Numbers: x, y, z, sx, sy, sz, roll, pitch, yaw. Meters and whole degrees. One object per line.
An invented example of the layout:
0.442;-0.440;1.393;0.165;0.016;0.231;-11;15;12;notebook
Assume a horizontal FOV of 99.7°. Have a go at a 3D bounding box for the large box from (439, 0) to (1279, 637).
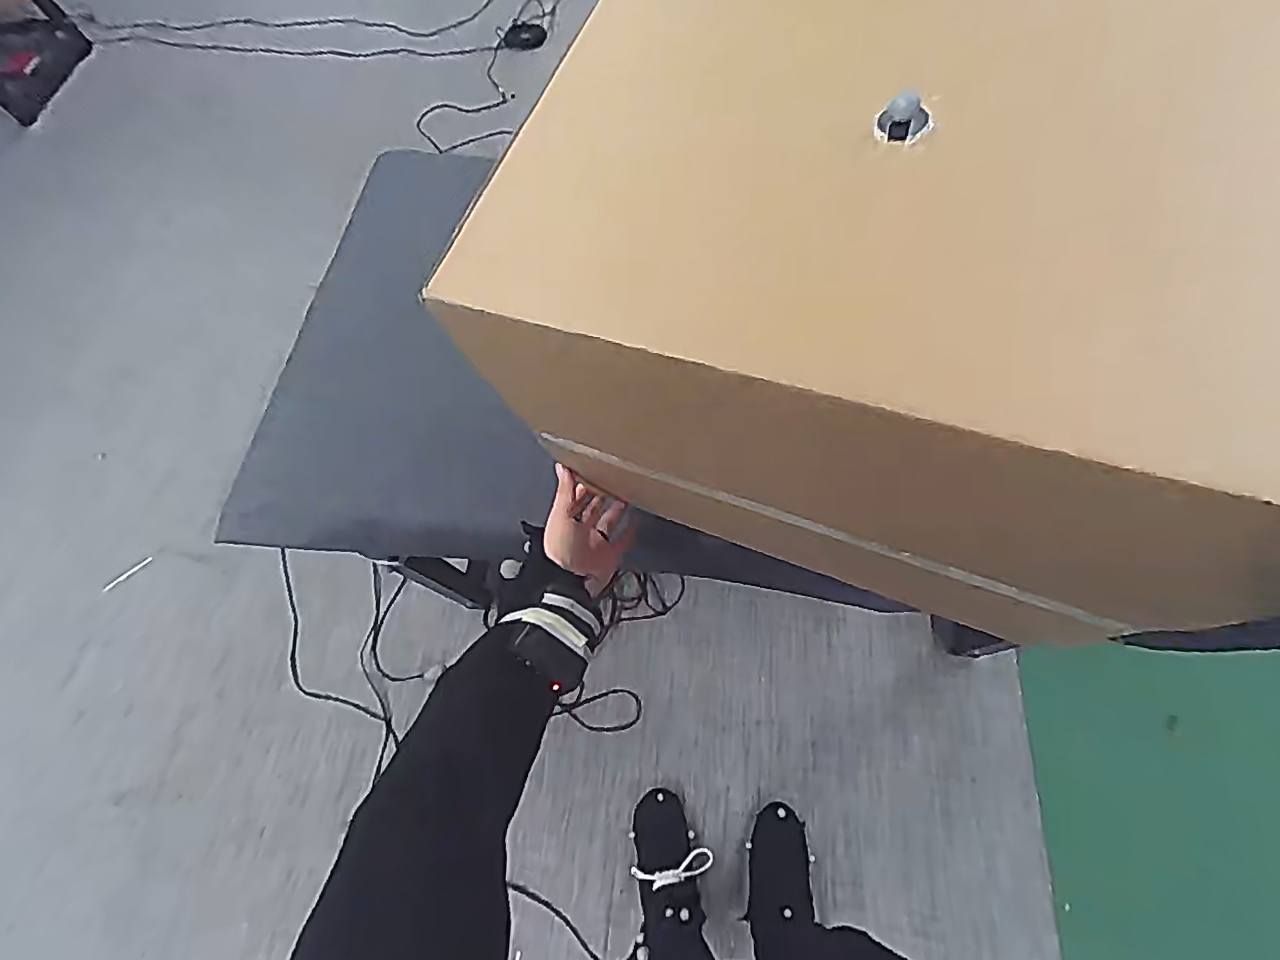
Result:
0.153;-0.108;0.396;0.408;0.320;0.320;18;74;18;large box
